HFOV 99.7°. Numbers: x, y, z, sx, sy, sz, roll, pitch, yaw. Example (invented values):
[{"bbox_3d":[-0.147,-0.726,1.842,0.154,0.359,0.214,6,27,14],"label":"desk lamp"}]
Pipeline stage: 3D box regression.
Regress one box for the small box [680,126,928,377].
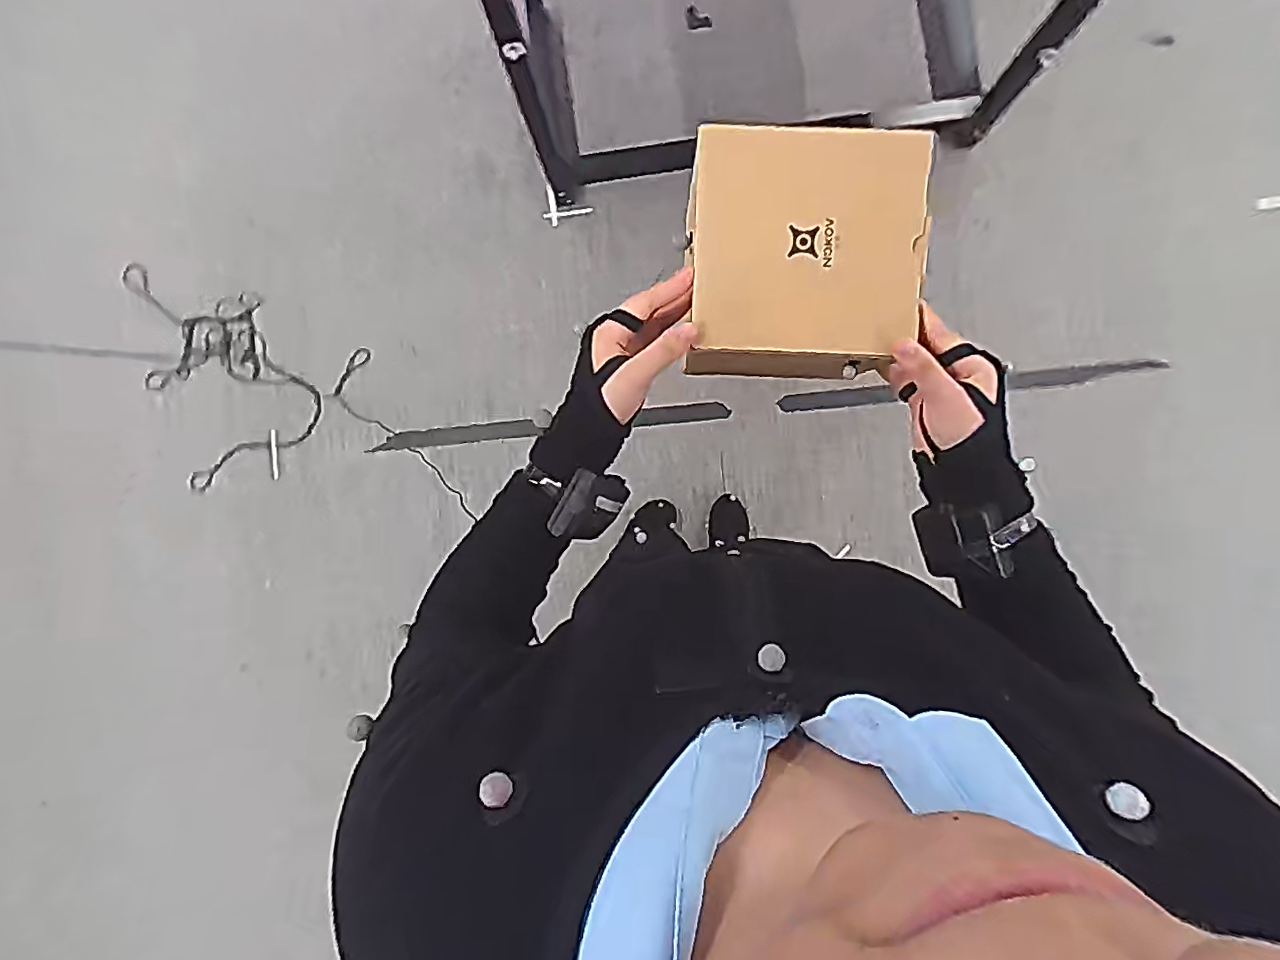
[{"bbox_3d":[0.128,-0.186,0.489,0.179,0.176,0.168,1,94,1],"label":"small box"}]
